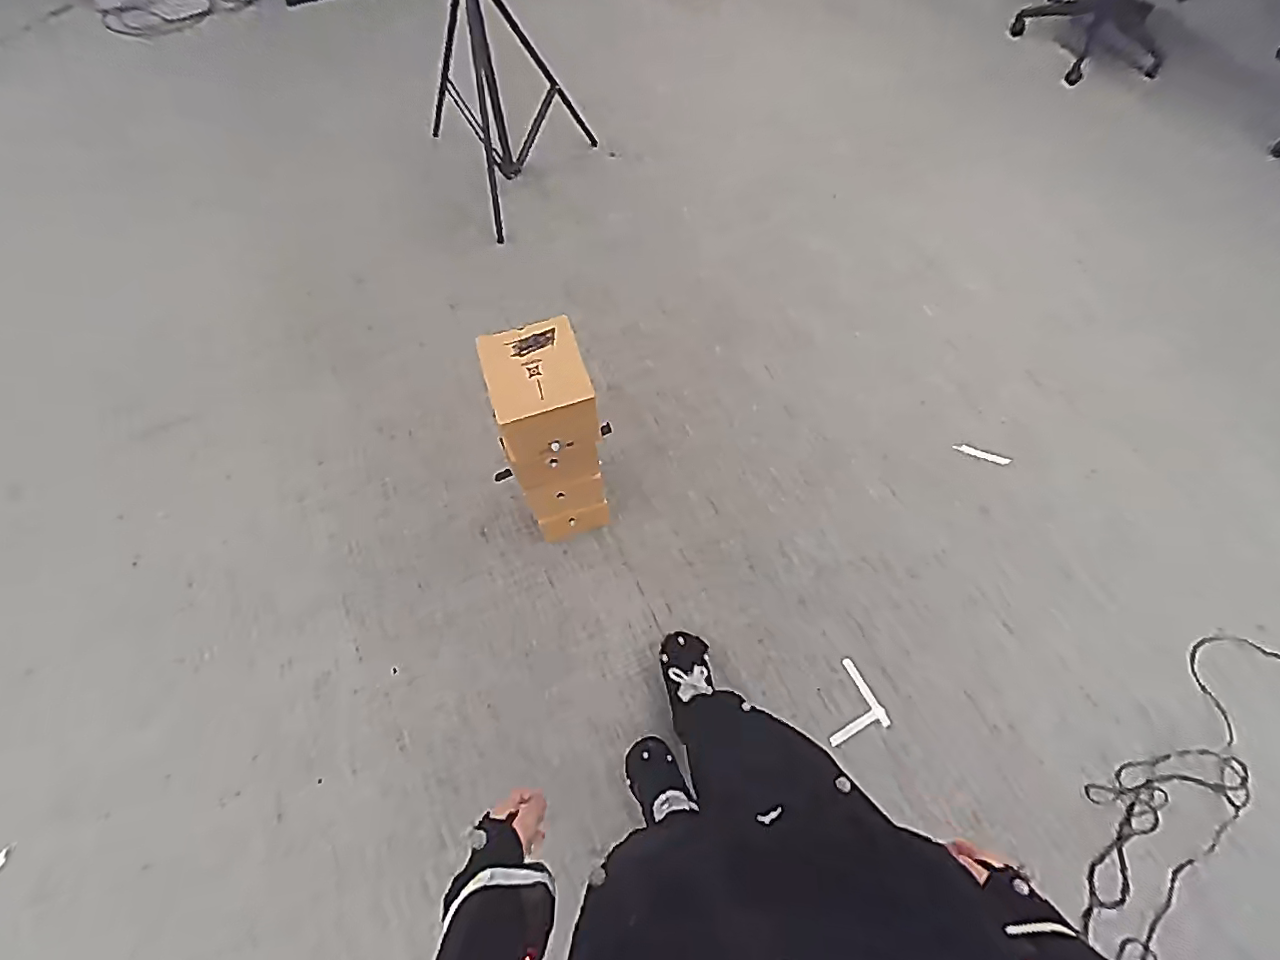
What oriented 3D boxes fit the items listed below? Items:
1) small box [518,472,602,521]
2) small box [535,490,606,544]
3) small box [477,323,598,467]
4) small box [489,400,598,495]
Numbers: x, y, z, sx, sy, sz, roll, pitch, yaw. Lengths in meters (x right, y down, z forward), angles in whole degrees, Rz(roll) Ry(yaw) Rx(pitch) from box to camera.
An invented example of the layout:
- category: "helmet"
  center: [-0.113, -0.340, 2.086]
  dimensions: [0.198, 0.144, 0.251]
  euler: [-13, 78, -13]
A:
- category: "small box"
  center: [-0.195, -0.017, 1.277]
  dimensions: [0.179, 0.176, 0.168]
  euler: [-14, 70, -7]
- category: "small box"
  center: [-0.195, 0.053, 1.427]
  dimensions: [0.179, 0.176, 0.168]
  euler: [-17, 69, -8]
- category: "small box"
  center: [-0.179, -0.148, 0.979]
  dimensions: [0.168, 0.176, 0.179]
  euler: [-17, 71, -7]
- category: "small box"
  center: [-0.196, -0.085, 1.130]
  dimensions: [0.179, 0.176, 0.168]
  euler: [-17, 70, -8]
